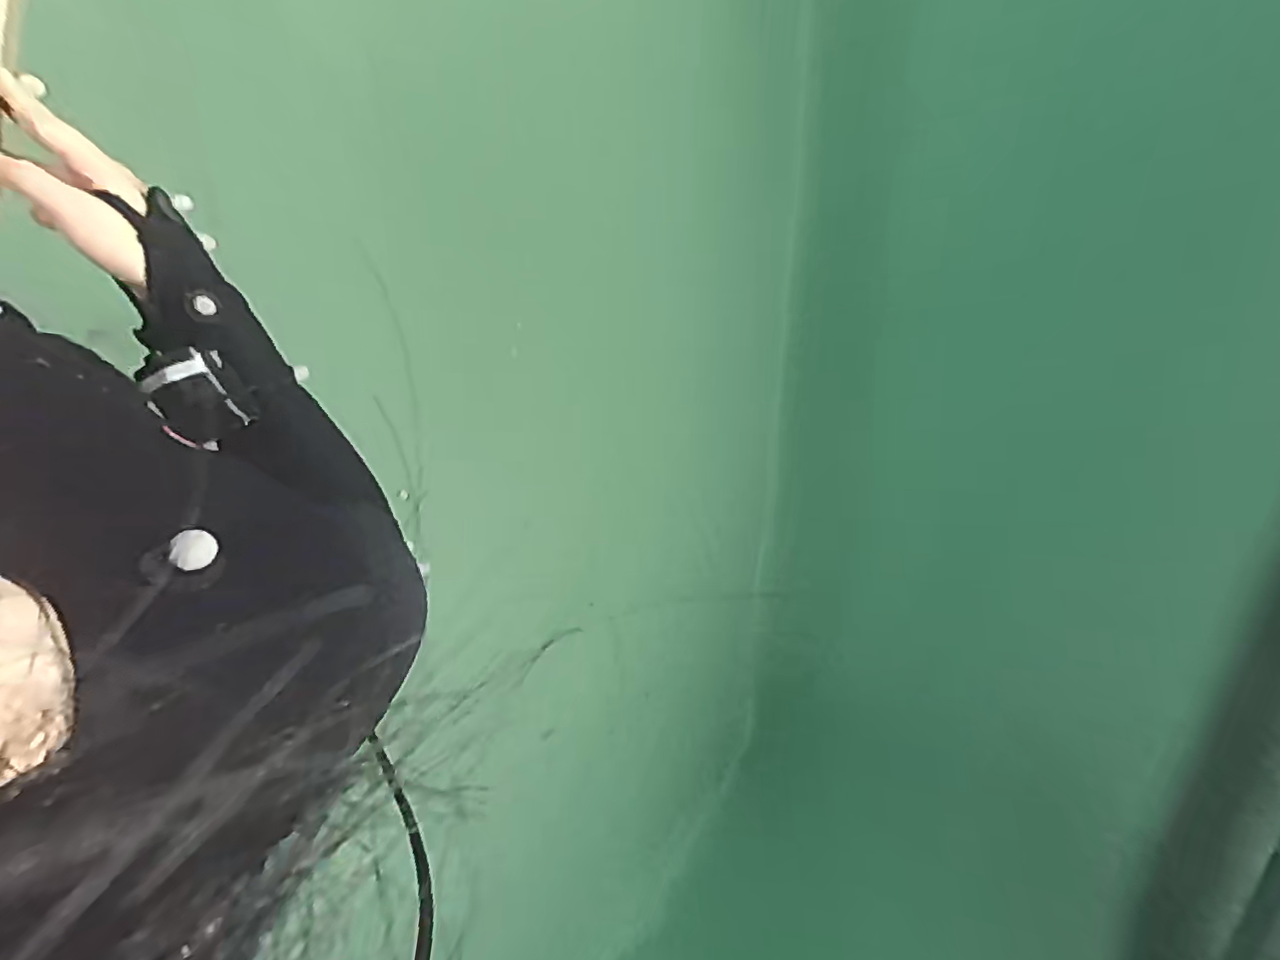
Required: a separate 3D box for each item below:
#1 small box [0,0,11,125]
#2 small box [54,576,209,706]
[{"bbox_3d":[-0.520,-0.292,0.333,0.168,0.176,0.179,5,117,-50],"label":"small box"},{"bbox_3d":[-1.049,0.319,1.116,0.168,0.176,0.179,-37,129,-37],"label":"small box"}]
